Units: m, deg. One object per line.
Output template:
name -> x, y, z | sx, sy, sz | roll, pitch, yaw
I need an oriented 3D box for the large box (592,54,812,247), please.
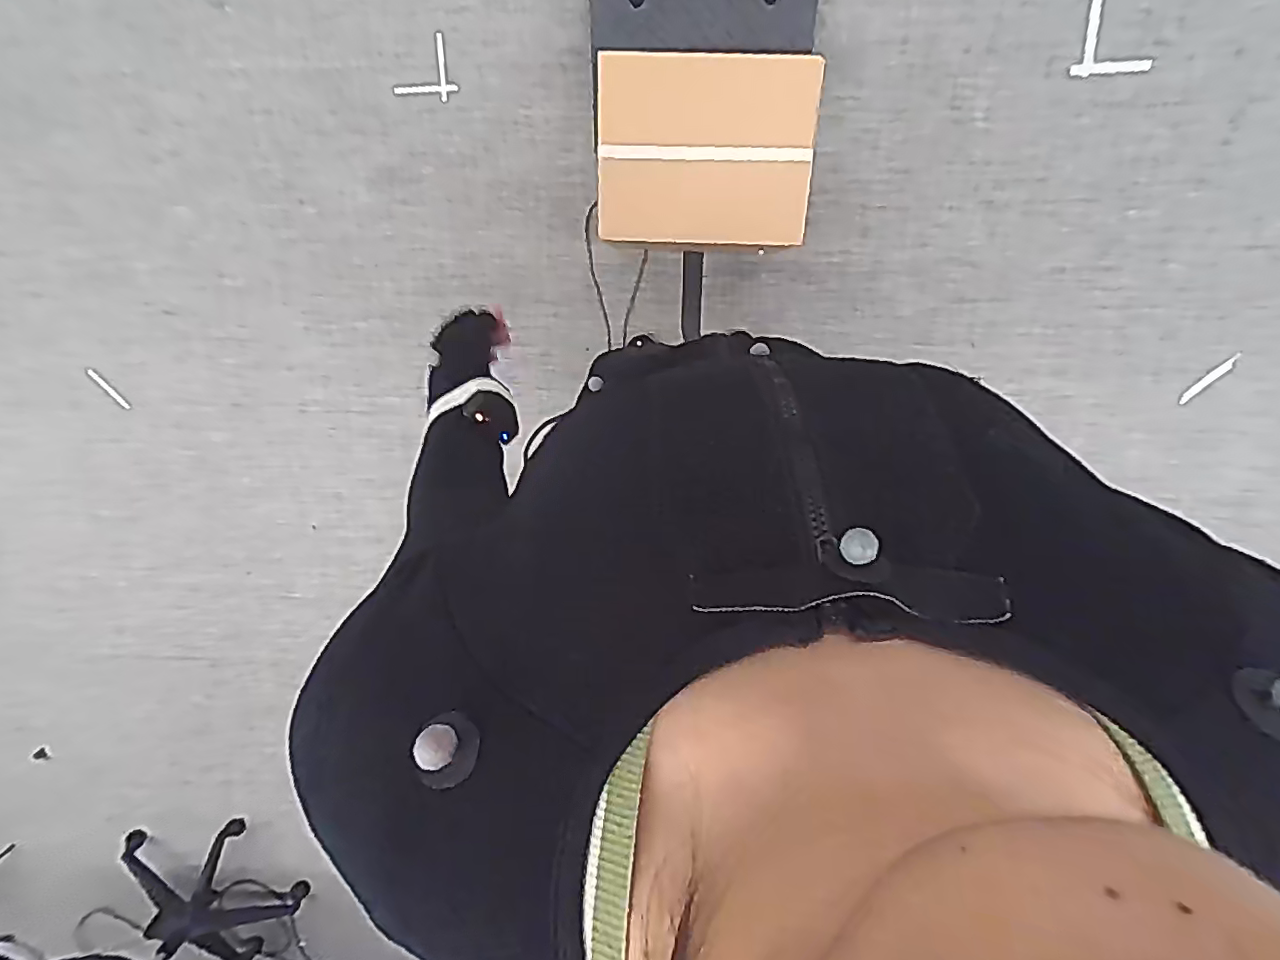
large box -> 0.115, -0.672, 1.161 | 0.408, 0.320, 0.320 | 2, 110, 1

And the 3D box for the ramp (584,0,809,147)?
ramp -> 0.123, -1.239, 1.070 | 0.509, 0.206, 0.991 | -1, 106, 1
